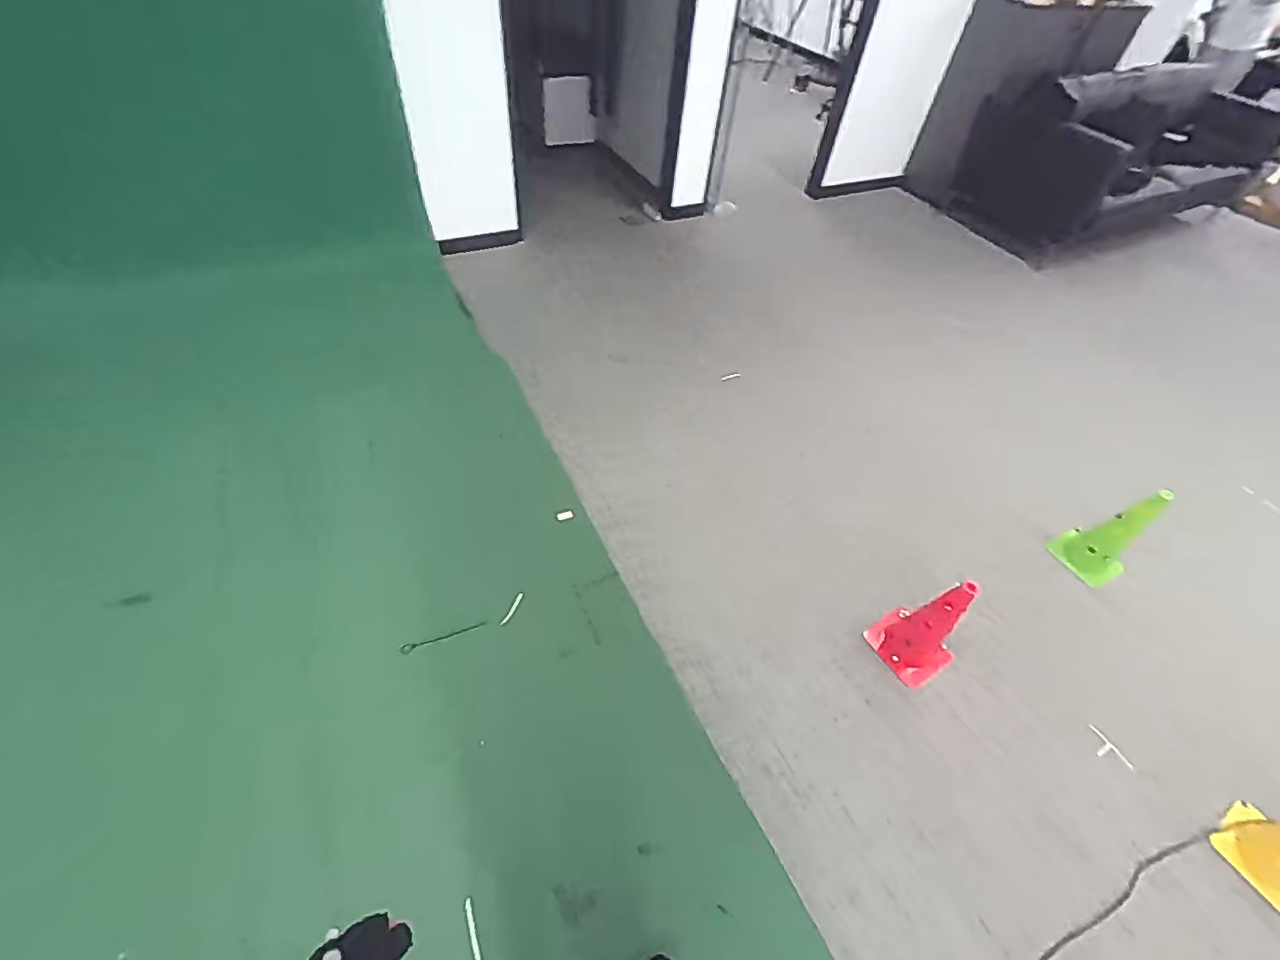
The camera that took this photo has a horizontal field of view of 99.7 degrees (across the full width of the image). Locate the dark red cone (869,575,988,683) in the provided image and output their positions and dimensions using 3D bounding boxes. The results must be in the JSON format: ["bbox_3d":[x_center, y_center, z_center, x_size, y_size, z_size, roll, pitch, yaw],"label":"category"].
[{"bbox_3d":[0.815,0.369,1.469,0.201,0.394,0.202,-24,56,-23],"label":"dark red cone"}]

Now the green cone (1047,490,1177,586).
[{"bbox_3d":[1.578,0.154,1.768,0.200,0.368,0.202,-20,56,-21],"label":"green cone"}]
